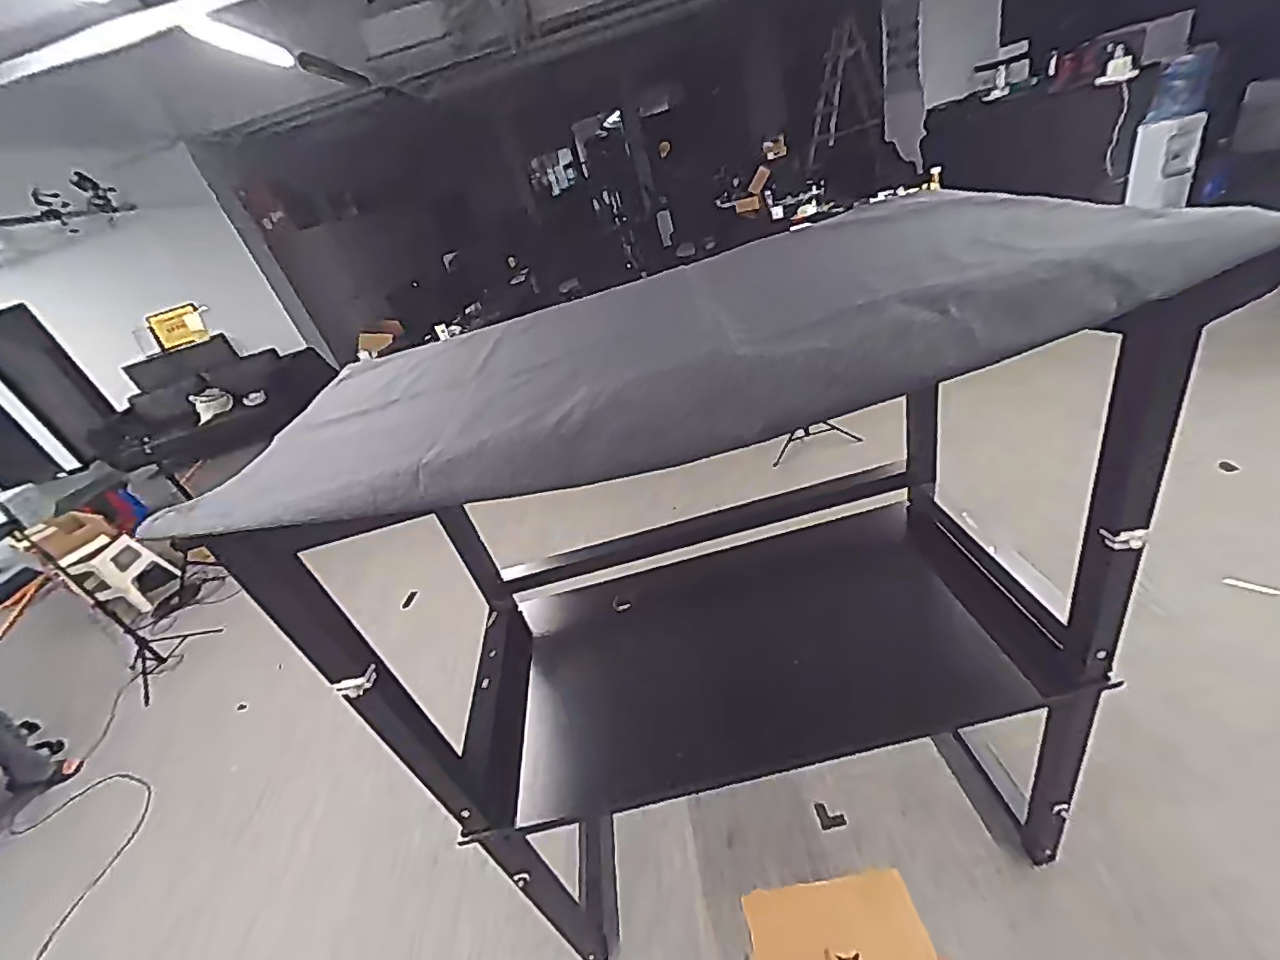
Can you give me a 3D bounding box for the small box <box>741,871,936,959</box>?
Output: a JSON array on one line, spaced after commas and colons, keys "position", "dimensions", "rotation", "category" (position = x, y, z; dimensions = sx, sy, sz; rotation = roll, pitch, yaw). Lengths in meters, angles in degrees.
[{"position": [0.211, 0.541, 0.539], "dimensions": [0.179, 0.176, 0.168], "rotation": [-12, 17, 4], "category": "small box"}]
